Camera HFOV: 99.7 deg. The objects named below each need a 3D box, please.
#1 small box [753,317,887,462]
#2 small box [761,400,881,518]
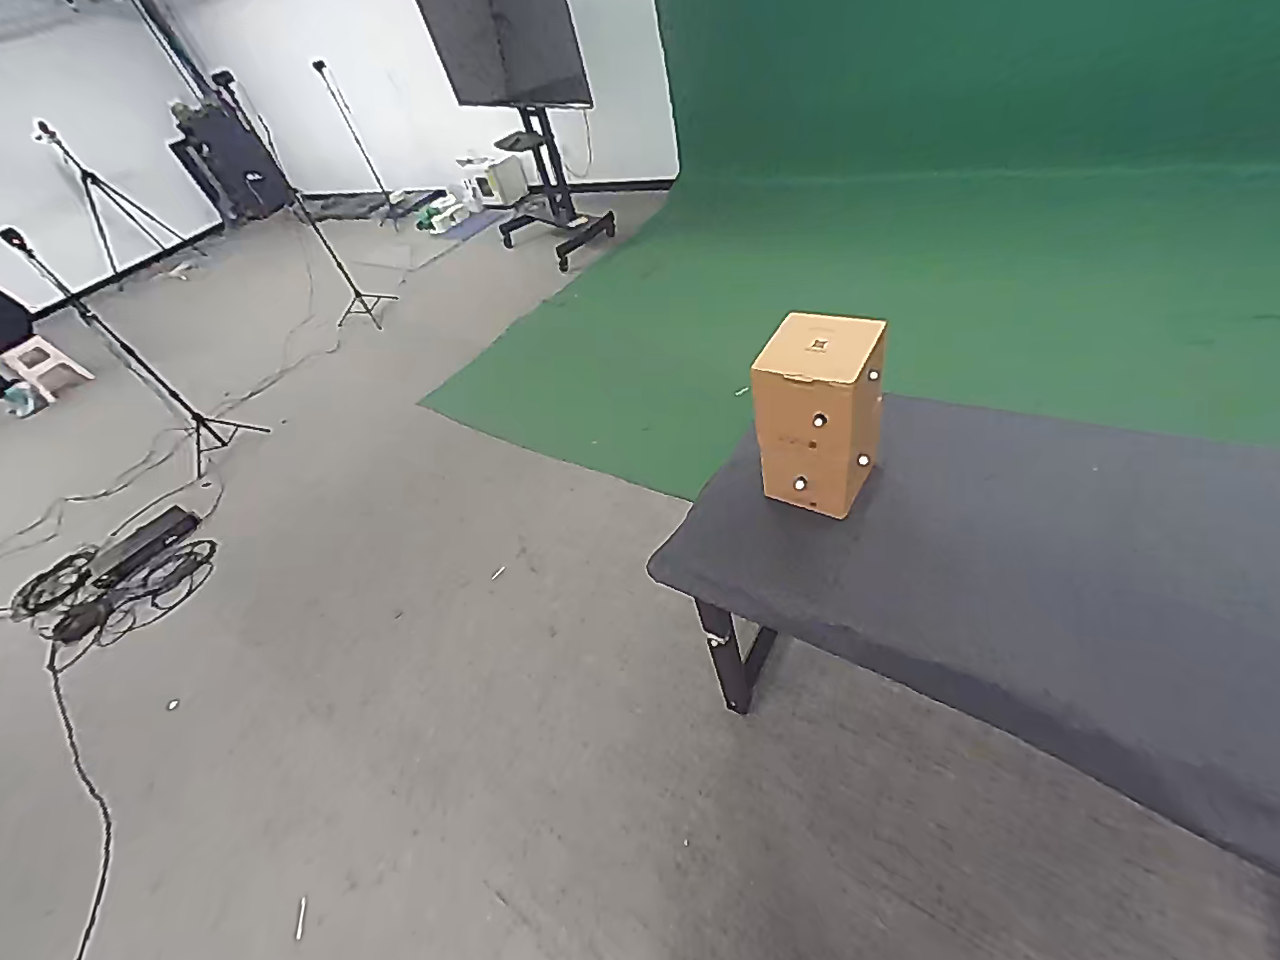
[{"bbox_3d":[0.312,-0.156,0.936,0.168,0.176,0.179,17,53,30],"label":"small box"},{"bbox_3d":[0.355,-0.054,1.056,0.168,0.176,0.179,19,55,32],"label":"small box"}]
